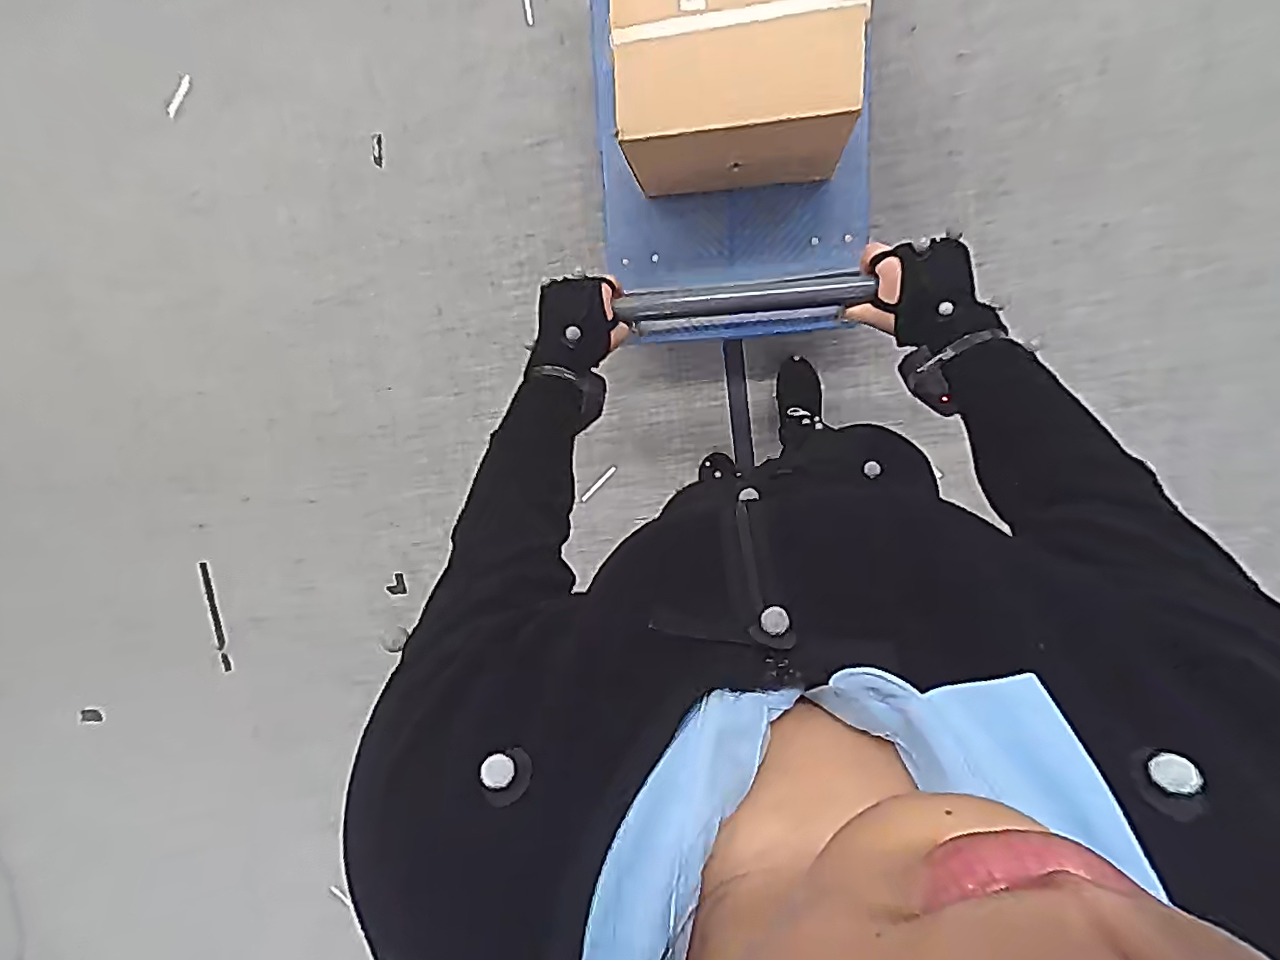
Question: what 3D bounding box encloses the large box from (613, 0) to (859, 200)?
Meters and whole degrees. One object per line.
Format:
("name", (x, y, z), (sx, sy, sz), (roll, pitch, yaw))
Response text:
("large box", (0.182, -0.770, 1.040), (0.408, 0.320, 0.320), (-1, 99, 11))
